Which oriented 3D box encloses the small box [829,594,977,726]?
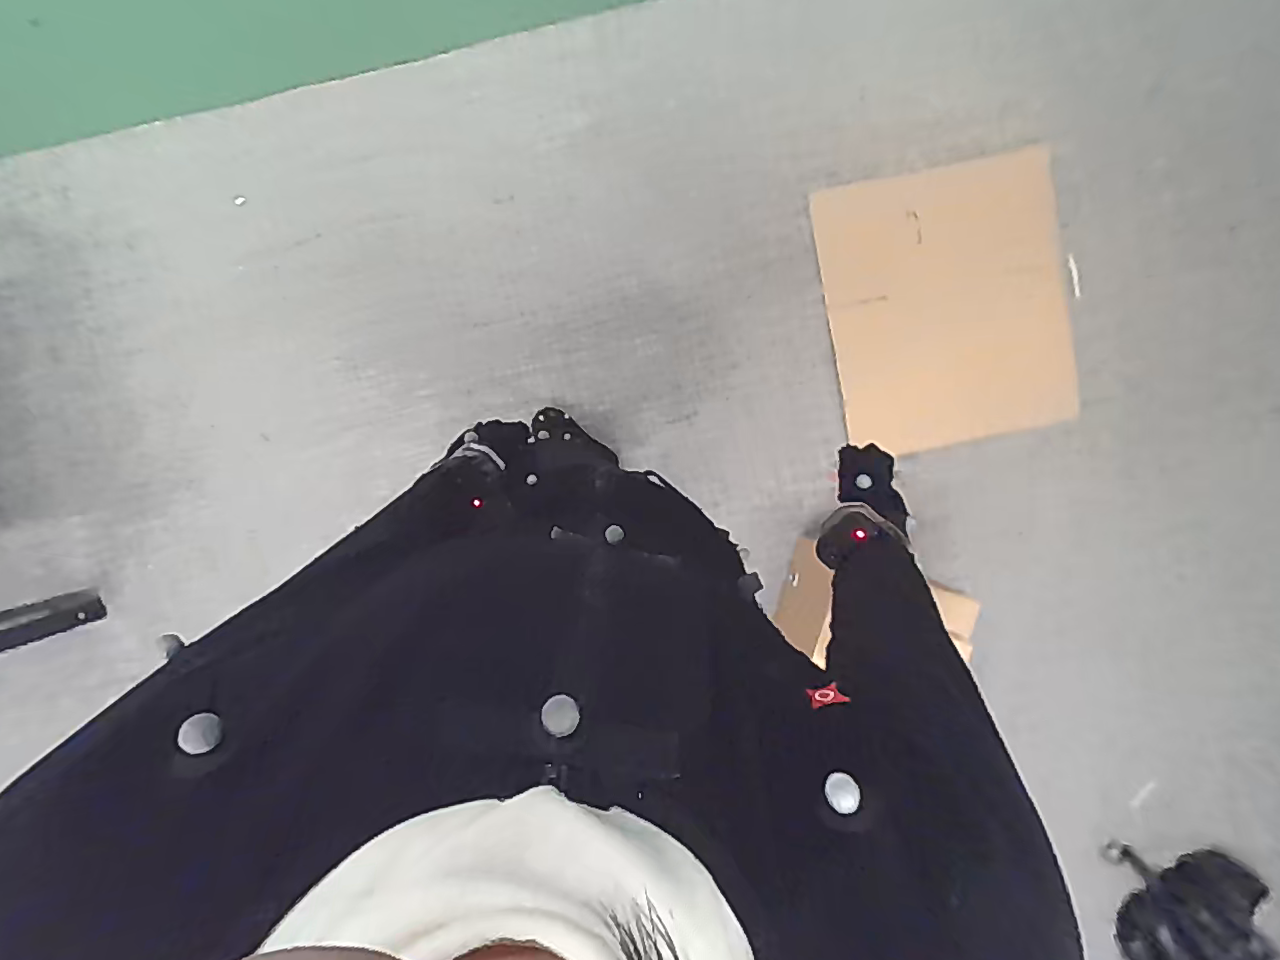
[{"bbox_3d":[0.500,0.339,1.055,0.179,0.176,0.168,19,93,1],"label":"small box"}]
